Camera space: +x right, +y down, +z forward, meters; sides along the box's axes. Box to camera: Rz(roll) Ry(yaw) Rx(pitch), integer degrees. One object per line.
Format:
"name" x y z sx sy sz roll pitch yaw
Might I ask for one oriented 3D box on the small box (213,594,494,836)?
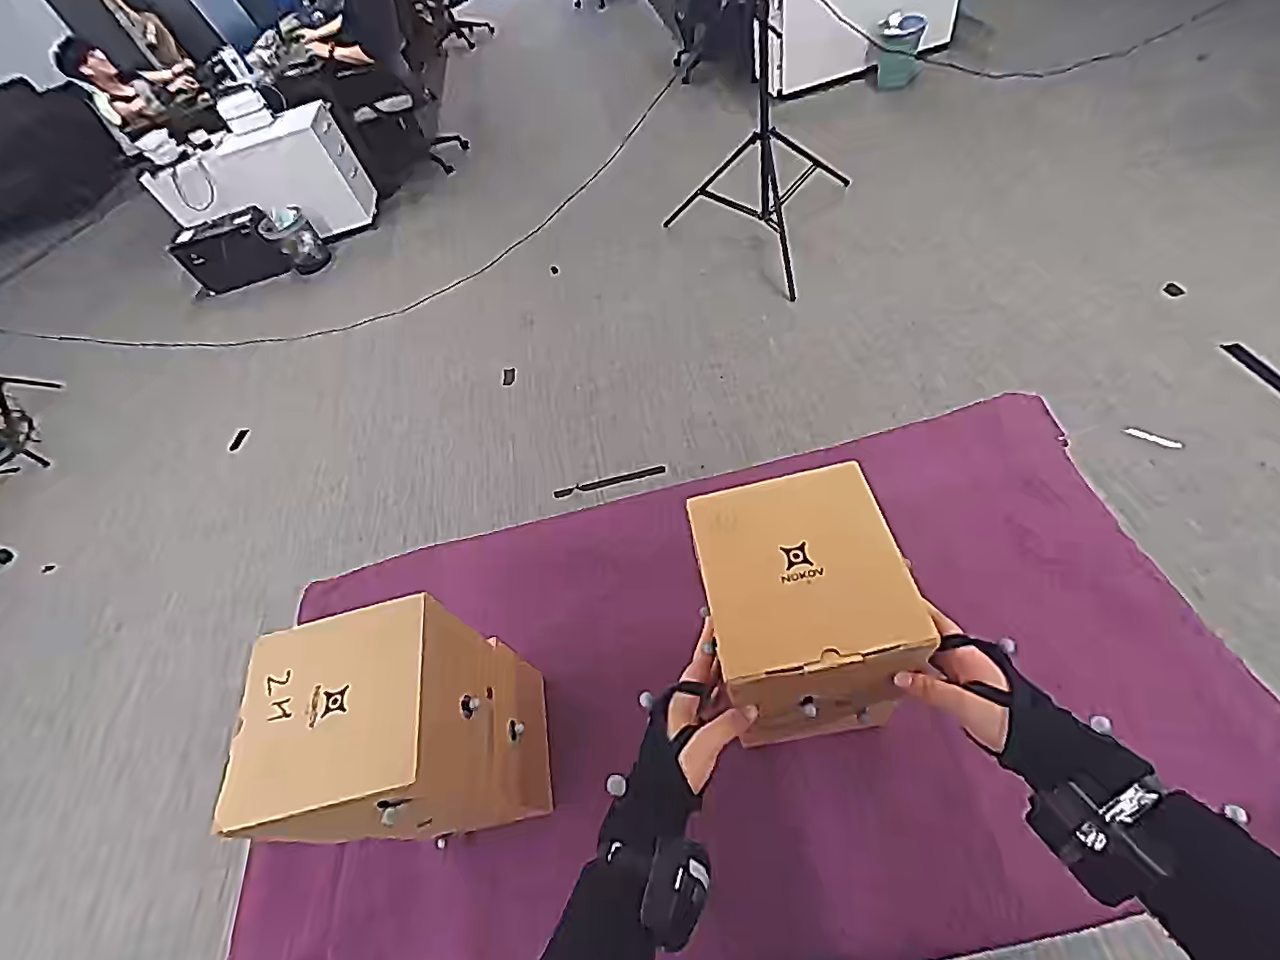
"small box" -0.254 0.237 0.534 0.179 0.176 0.168 -15 53 3

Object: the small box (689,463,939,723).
"small box" 0.149 0.114 0.523 0.168 0.176 0.179 -13 53 4

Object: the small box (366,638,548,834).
"small box" -0.220 0.323 0.671 0.168 0.176 0.179 -15 53 3
